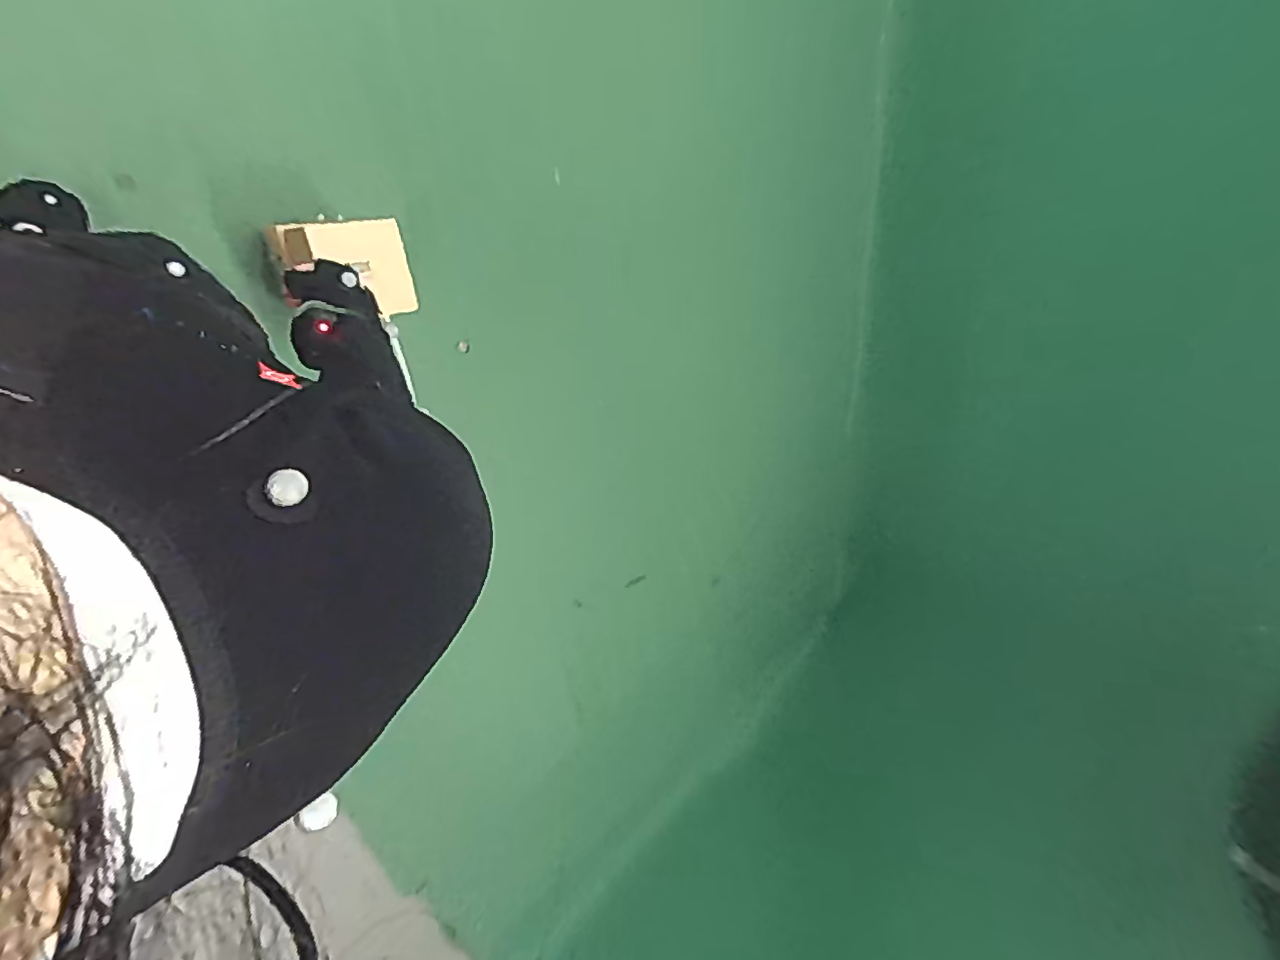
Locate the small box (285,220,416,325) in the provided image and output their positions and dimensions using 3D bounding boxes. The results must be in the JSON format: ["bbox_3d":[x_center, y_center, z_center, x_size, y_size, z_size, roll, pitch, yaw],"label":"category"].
[{"bbox_3d":[-0.585,-0.421,1.091,0.168,0.176,0.179,-25,124,-35],"label":"small box"}]

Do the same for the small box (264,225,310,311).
[{"bbox_3d":[-0.703,-0.471,1.195,0.179,0.176,0.168,-24,122,-36],"label":"small box"}]
